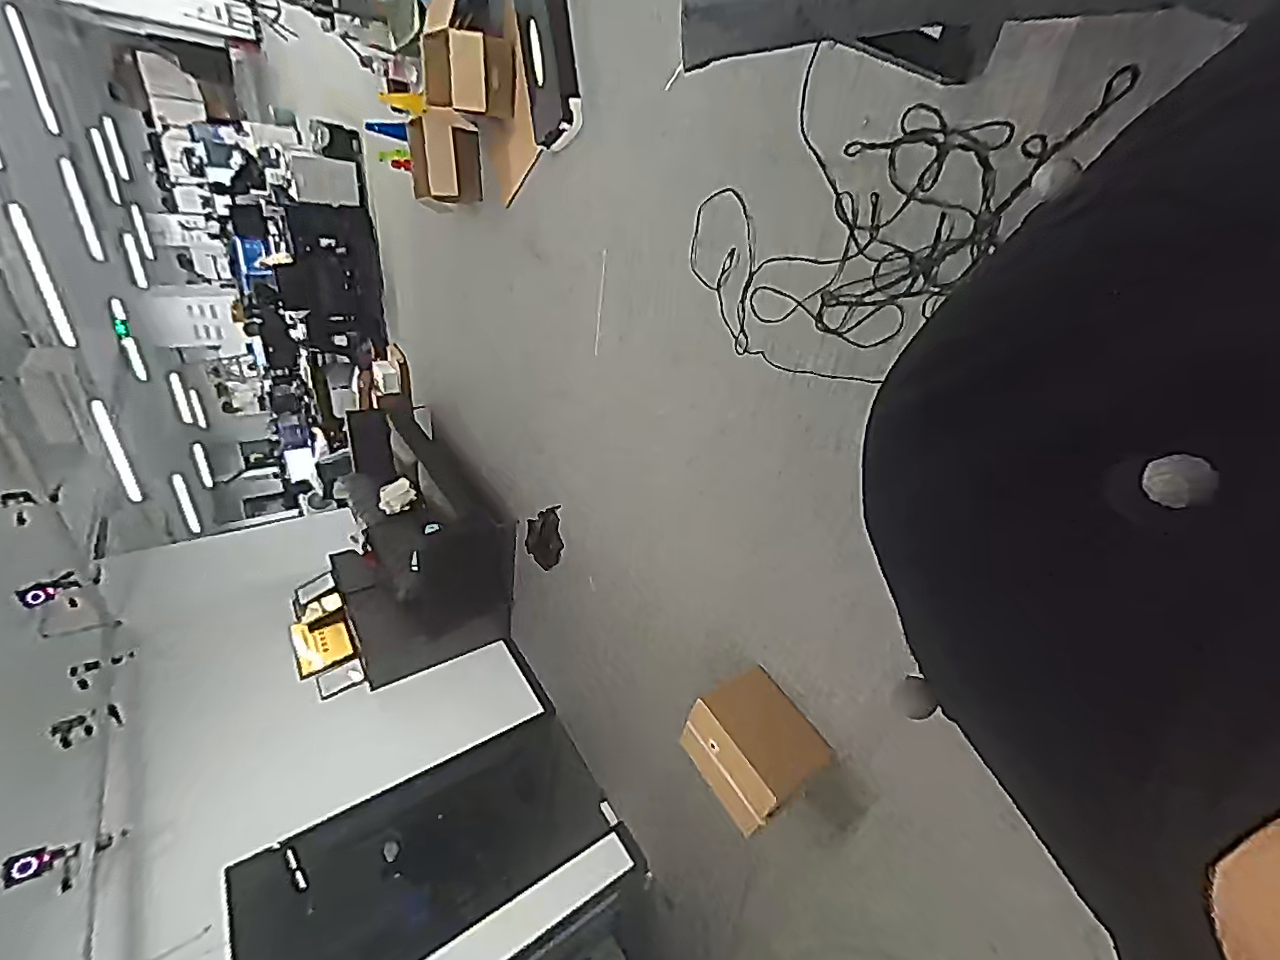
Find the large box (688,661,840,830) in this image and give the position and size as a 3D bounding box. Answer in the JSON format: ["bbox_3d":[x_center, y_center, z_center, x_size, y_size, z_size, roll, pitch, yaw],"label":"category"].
[{"bbox_3d":[0.443,0.959,1.987,0.408,0.320,0.320,47,137,38],"label":"large box"}]
